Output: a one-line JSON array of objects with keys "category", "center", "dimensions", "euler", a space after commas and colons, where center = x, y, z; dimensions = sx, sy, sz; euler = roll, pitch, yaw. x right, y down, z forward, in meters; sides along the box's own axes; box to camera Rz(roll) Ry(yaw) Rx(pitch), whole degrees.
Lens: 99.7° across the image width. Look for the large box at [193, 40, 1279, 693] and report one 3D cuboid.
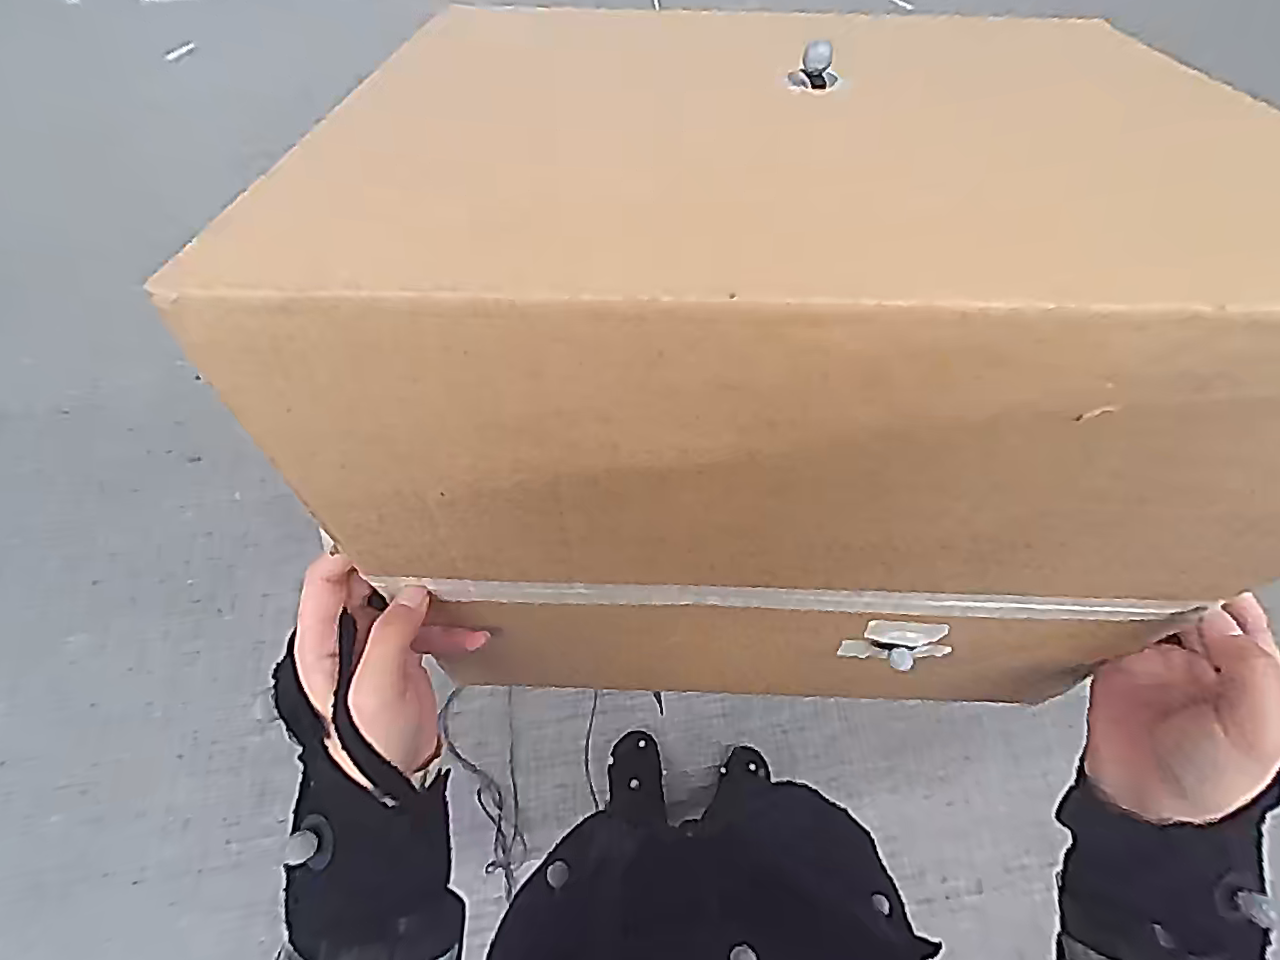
[{"category": "large box", "center": [0.067, -0.062, 0.361], "dimensions": [0.408, 0.320, 0.320], "euler": [0, 52, 1]}]
